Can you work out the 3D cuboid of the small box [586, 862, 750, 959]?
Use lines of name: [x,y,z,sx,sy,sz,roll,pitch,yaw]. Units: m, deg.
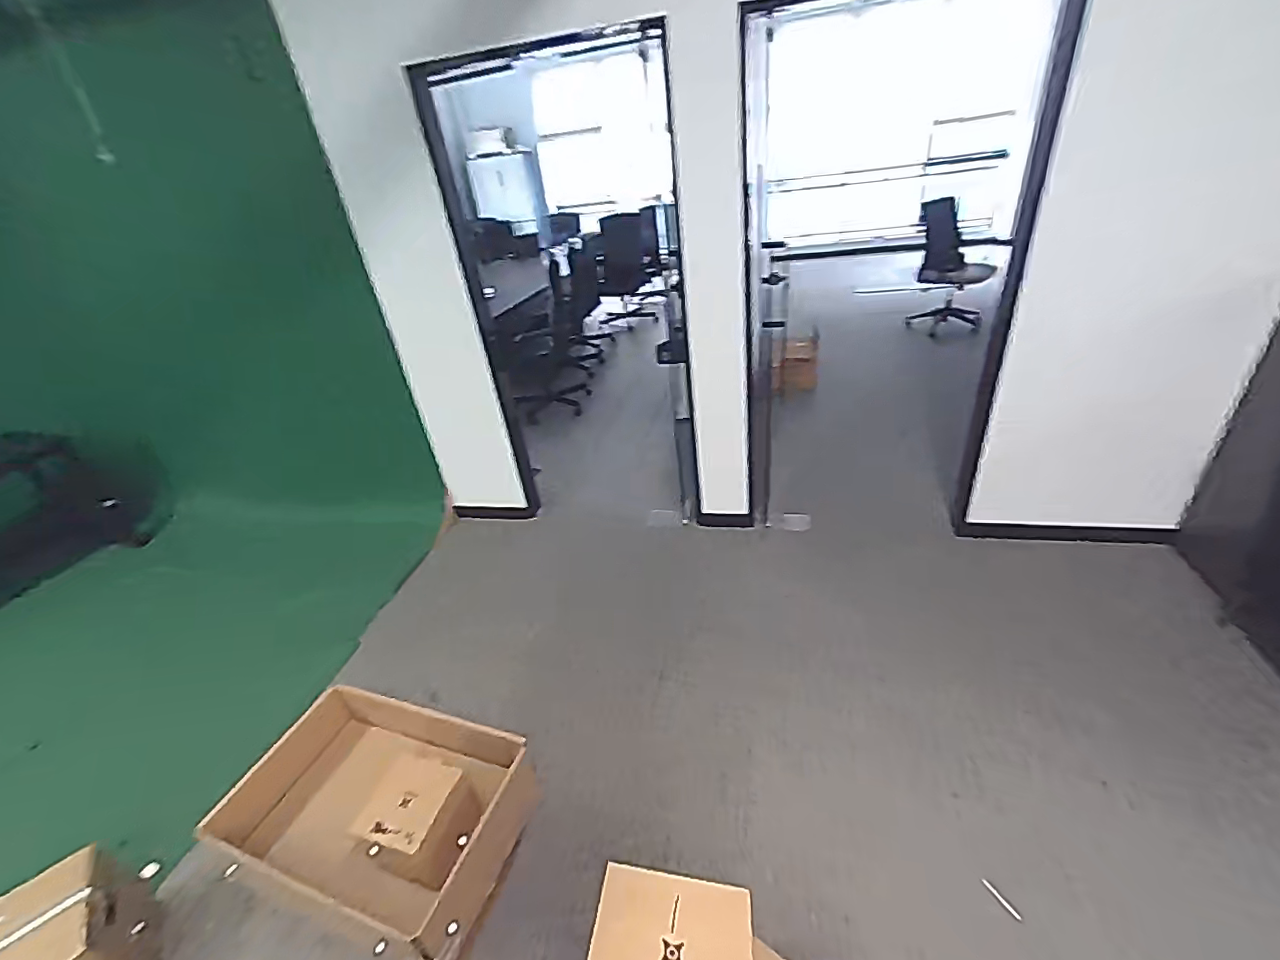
small box: [0.025,0.556,0.565,0.168,0.176,0.179,6,20,7]
